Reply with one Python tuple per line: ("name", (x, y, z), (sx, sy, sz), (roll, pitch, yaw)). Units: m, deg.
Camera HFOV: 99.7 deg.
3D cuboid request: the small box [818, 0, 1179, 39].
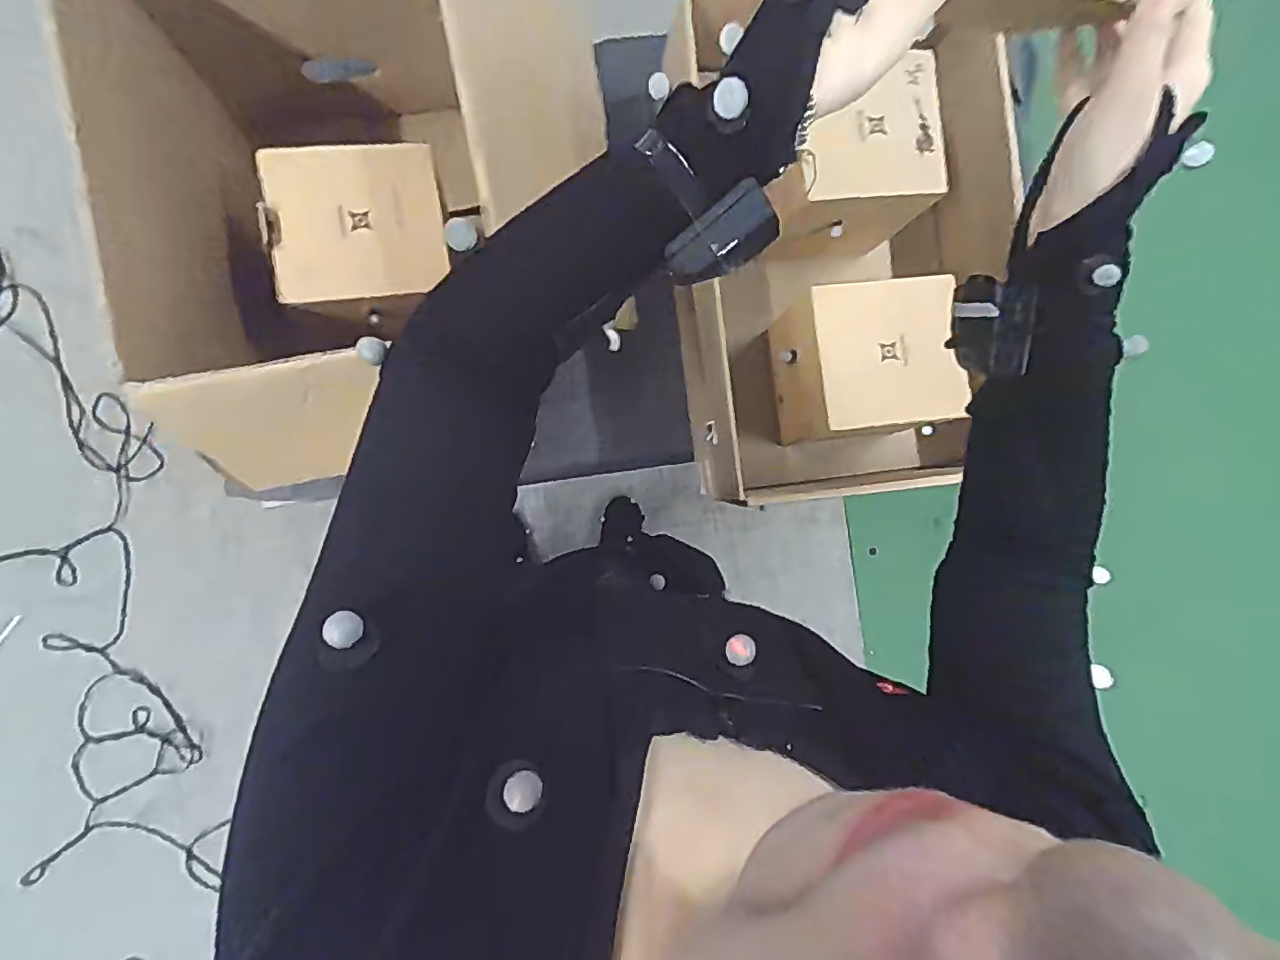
("small box", (0.212, -0.367, 0.294), (0.168, 0.176, 0.179), (7, 128, -6))
